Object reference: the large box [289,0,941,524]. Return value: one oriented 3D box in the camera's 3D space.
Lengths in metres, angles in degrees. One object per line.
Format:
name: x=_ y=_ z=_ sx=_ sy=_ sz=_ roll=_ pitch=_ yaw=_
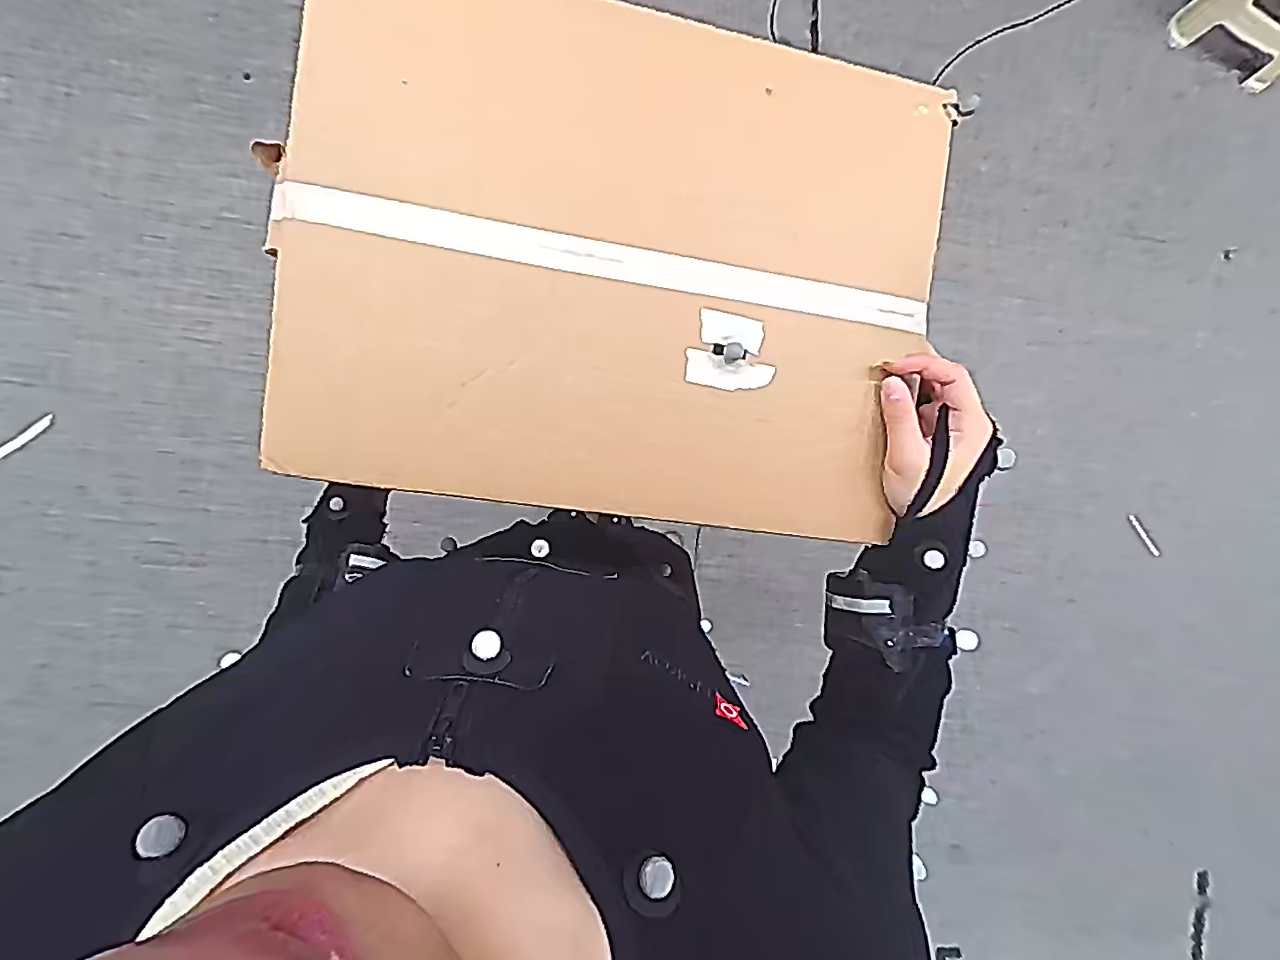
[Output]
large box: x=-0.025 y=-0.147 z=0.494 sx=0.408 sy=0.320 sz=0.320 roll=7 pitch=93 yaw=-11
